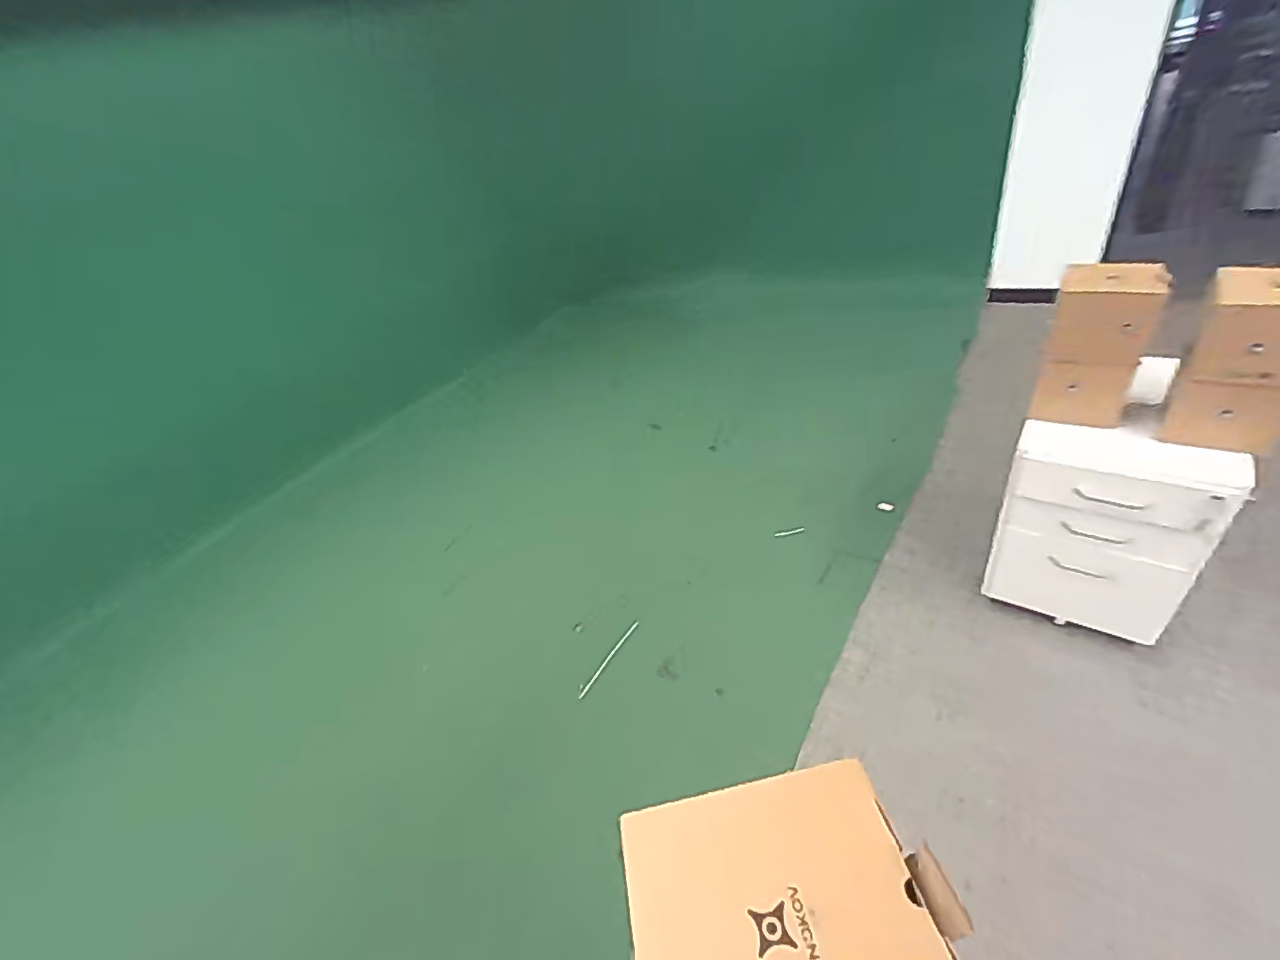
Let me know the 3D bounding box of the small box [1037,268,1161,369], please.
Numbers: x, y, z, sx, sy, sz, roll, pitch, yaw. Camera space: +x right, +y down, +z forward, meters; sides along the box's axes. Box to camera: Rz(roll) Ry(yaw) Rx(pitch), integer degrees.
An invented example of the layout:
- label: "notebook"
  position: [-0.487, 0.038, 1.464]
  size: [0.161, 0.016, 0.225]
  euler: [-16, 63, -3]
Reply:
- label: "small box"
  position: [1.036, -0.367, 1.231]
  size: [0.179, 0.176, 0.168]
  euler: [12, 44, 30]

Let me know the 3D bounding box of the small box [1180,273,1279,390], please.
- label: "small box"
  position: [1.215, -0.295, 1.073]
  size: [0.168, 0.176, 0.179]
  euler: [16, 47, 35]

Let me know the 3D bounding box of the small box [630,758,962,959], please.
- label: "small box"
  position: [0.101, 0.327, 0.365]
  size: [0.179, 0.176, 0.168]
  euler: [-13, 34, -1]

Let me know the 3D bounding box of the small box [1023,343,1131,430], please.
- label: "small box"
  position: [1.068, -0.241, 1.330]
  size: [0.179, 0.176, 0.168]
  euler: [14, 47, 31]
